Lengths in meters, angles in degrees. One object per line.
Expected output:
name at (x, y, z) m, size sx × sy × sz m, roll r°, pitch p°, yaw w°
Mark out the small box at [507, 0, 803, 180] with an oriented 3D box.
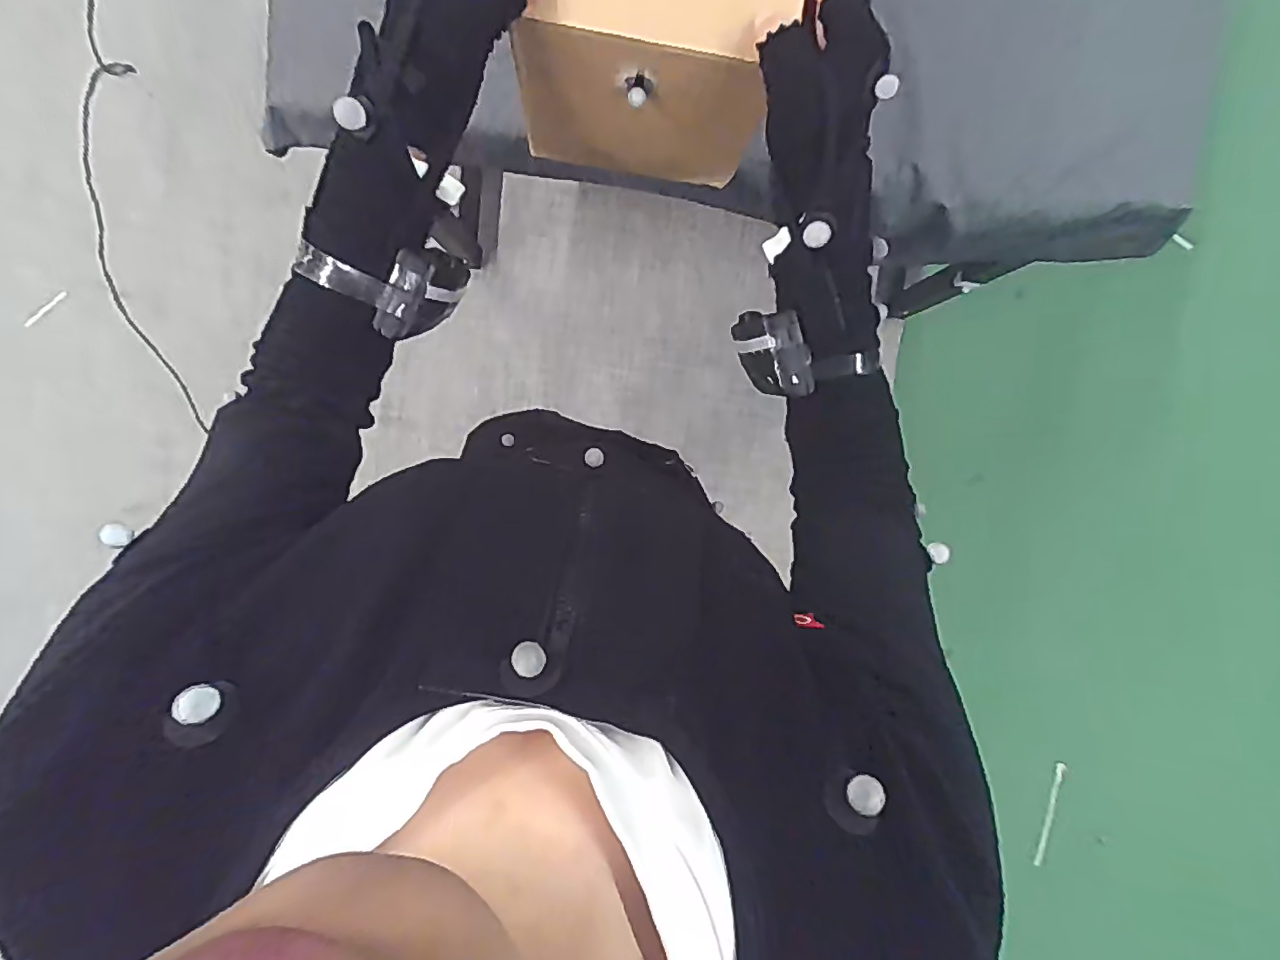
small box at (0.010, -0.346, 0.392) m, size 0.179 × 0.176 × 0.168 m, roll 6°, pitch 96°, yaw -7°
